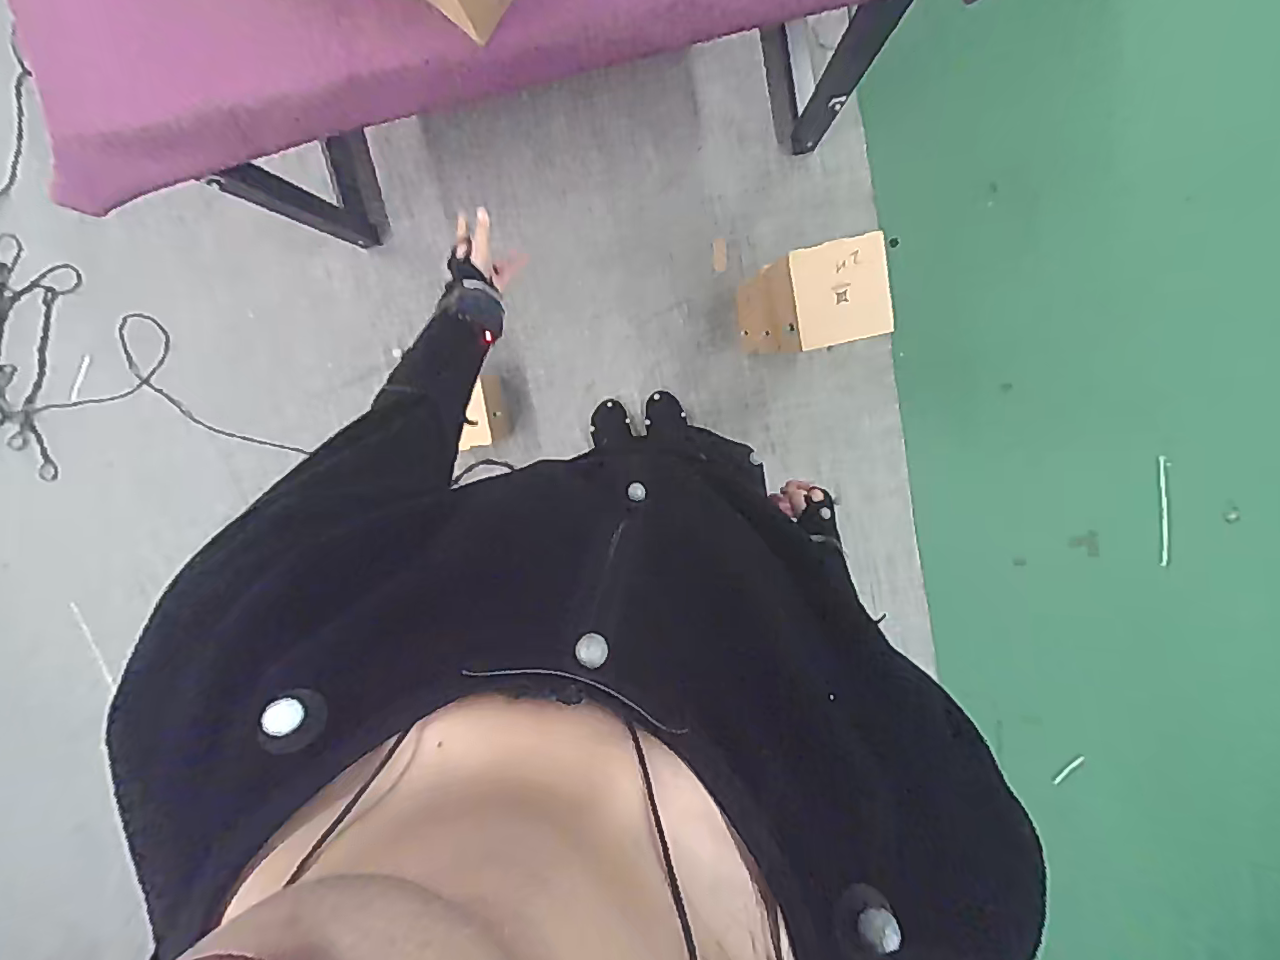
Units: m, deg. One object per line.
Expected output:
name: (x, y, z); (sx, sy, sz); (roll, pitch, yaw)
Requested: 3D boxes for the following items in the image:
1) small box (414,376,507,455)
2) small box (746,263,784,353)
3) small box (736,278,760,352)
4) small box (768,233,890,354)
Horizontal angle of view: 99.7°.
small box: (-0.460, -0.173, 1.415); (0.168, 0.176, 0.179); (-7, 101, 3)
small box: (0.338, -0.382, 1.183); (0.168, 0.176, 0.179); (-13, 102, 4)
small box: (0.338, -0.415, 1.342); (0.179, 0.176, 0.168); (-10, 101, 3)
small box: (0.349, -0.343, 1.023); (0.168, 0.176, 0.179); (-12, 102, 4)
